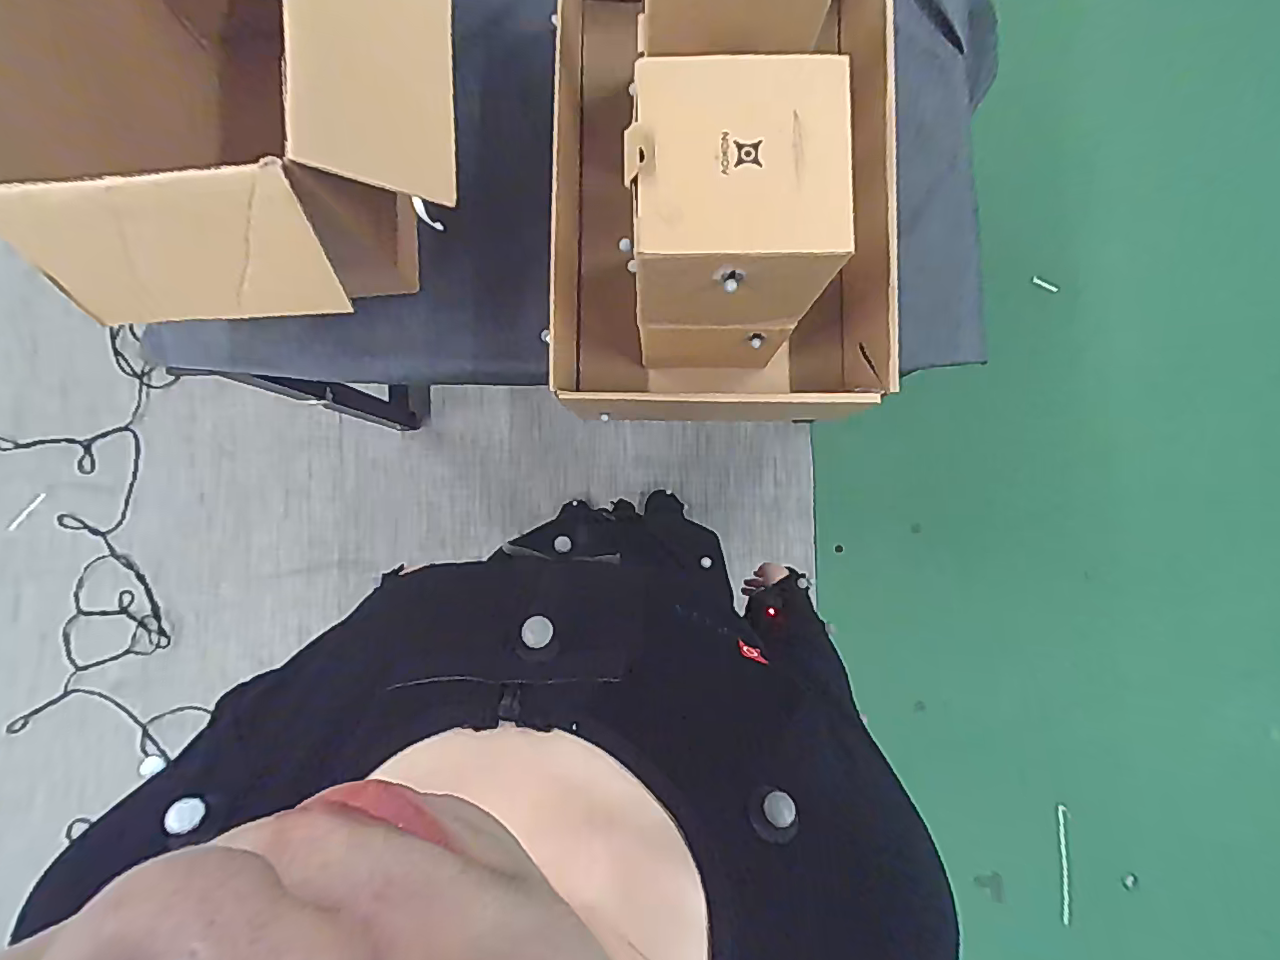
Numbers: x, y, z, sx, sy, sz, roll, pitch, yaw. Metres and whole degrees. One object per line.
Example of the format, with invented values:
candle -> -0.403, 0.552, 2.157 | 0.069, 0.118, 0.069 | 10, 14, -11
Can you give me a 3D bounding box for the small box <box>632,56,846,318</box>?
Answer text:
small box -> 0.081, -0.262, 0.521 | 0.179, 0.176, 0.168 | 0, 88, -1
